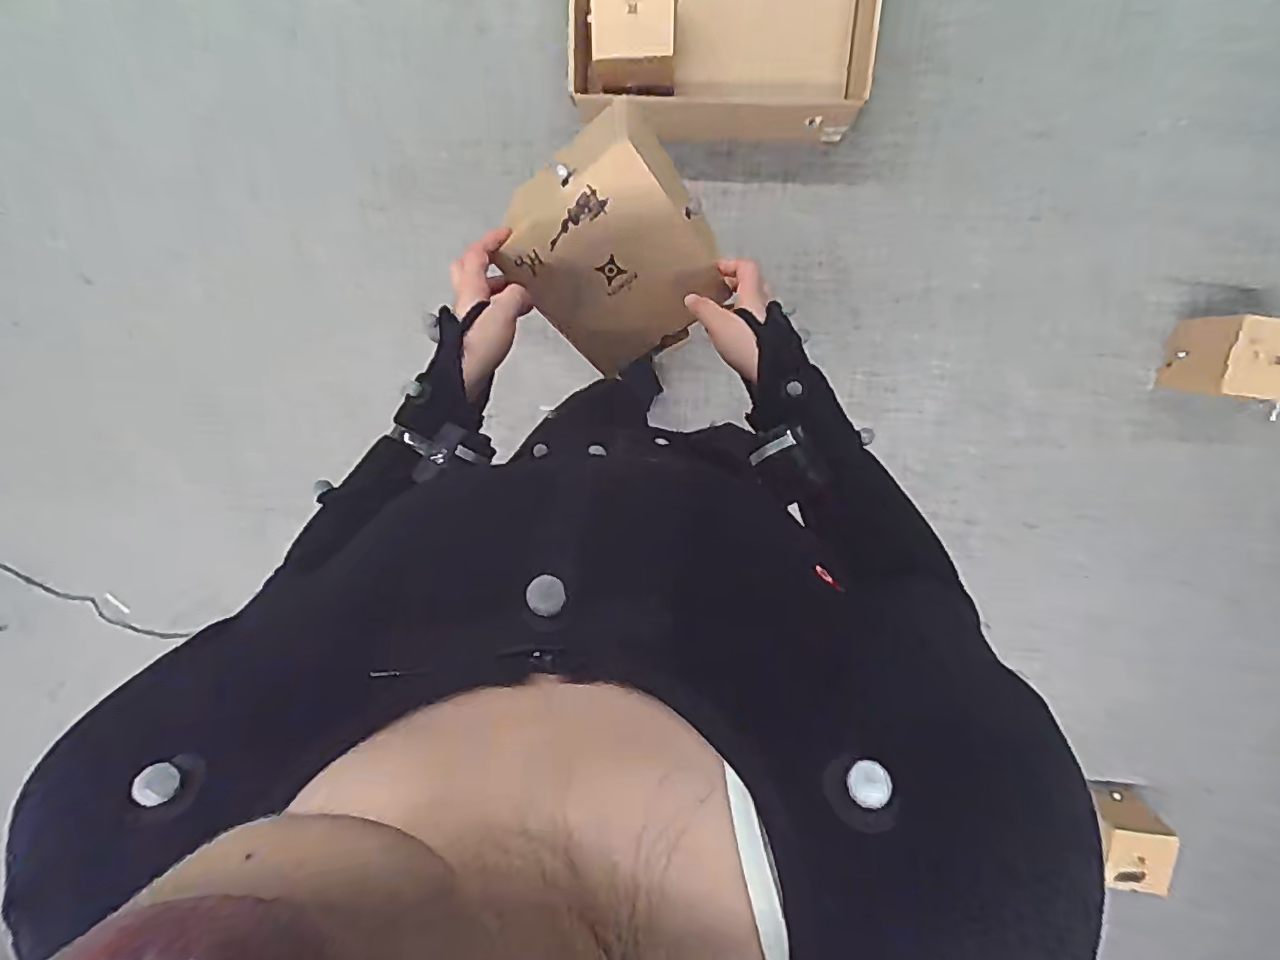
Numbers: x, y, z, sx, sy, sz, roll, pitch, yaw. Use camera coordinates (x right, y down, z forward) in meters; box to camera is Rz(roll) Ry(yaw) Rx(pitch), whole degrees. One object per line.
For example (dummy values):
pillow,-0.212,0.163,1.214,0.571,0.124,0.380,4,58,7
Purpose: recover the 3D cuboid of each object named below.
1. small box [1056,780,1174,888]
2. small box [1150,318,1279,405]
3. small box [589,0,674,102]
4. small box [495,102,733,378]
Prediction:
small box,1.303,0.974,1.498,0.168,0.176,0.179,4,102,4
small box,1.337,-0.268,1.226,0.179,0.176,0.168,8,102,3
small box,-0.014,-0.931,1.136,0.168,0.176,0.179,1,103,4
small box,-0.023,-0.250,0.572,0.168,0.176,0.179,-29,131,24
